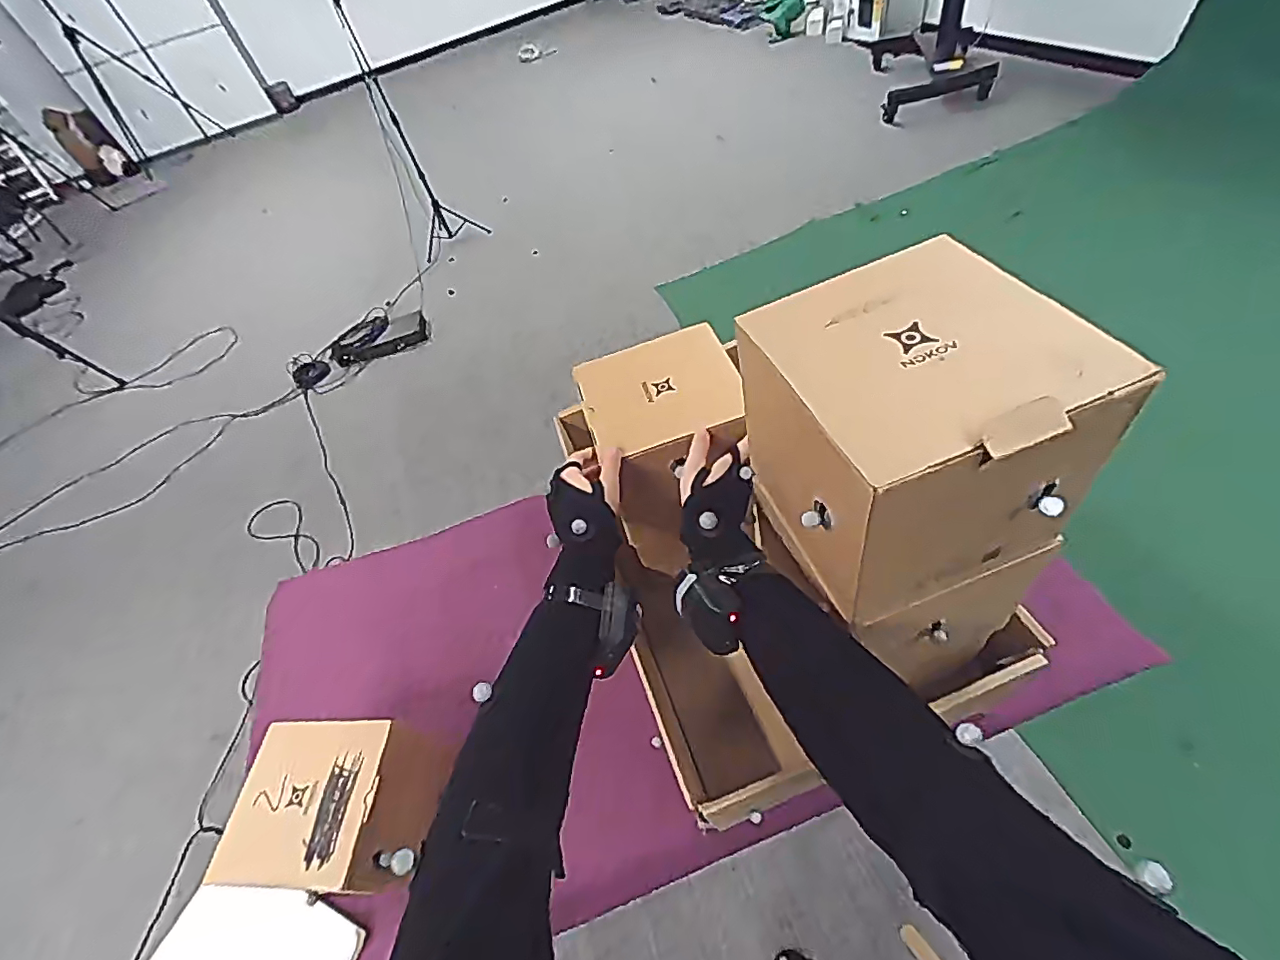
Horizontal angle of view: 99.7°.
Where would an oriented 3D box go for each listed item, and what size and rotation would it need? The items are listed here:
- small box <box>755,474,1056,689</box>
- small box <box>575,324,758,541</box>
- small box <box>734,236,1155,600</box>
[{"bbox_3d":[0.225,0.069,0.510,0.179,0.176,0.168,-23,49,0],"label":"small box"},{"bbox_3d":[0.039,-0.053,0.663,0.179,0.176,0.168,-19,51,0],"label":"small box"},{"bbox_3d":[0.185,-0.035,0.390,0.168,0.176,0.179,-22,49,-1],"label":"small box"}]
